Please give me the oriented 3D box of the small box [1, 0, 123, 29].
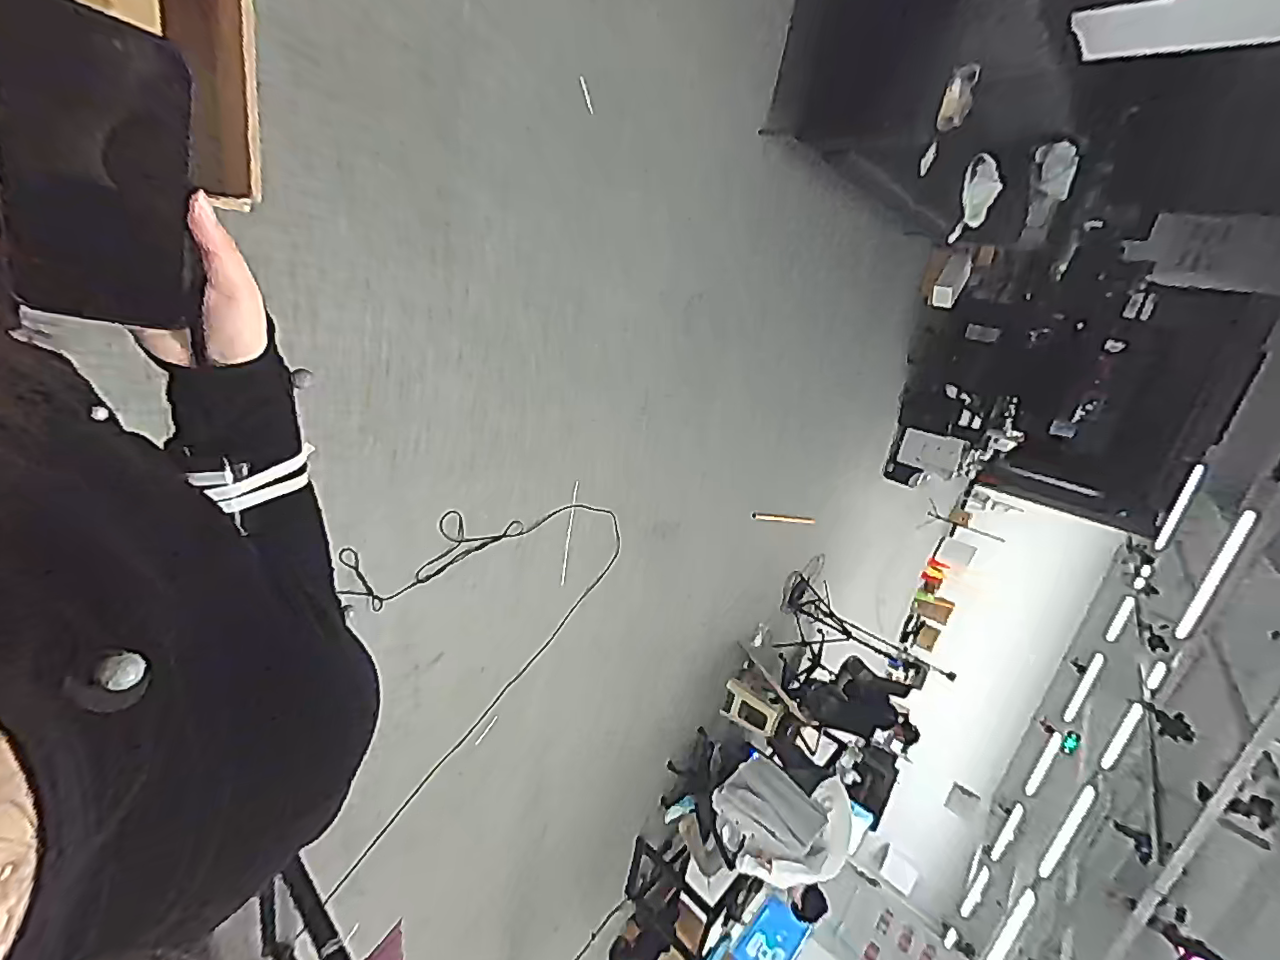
[{"bbox_3d":[-0.615,-0.568,0.503,0.168,0.176,0.179,-11,119,-47],"label":"small box"}]
